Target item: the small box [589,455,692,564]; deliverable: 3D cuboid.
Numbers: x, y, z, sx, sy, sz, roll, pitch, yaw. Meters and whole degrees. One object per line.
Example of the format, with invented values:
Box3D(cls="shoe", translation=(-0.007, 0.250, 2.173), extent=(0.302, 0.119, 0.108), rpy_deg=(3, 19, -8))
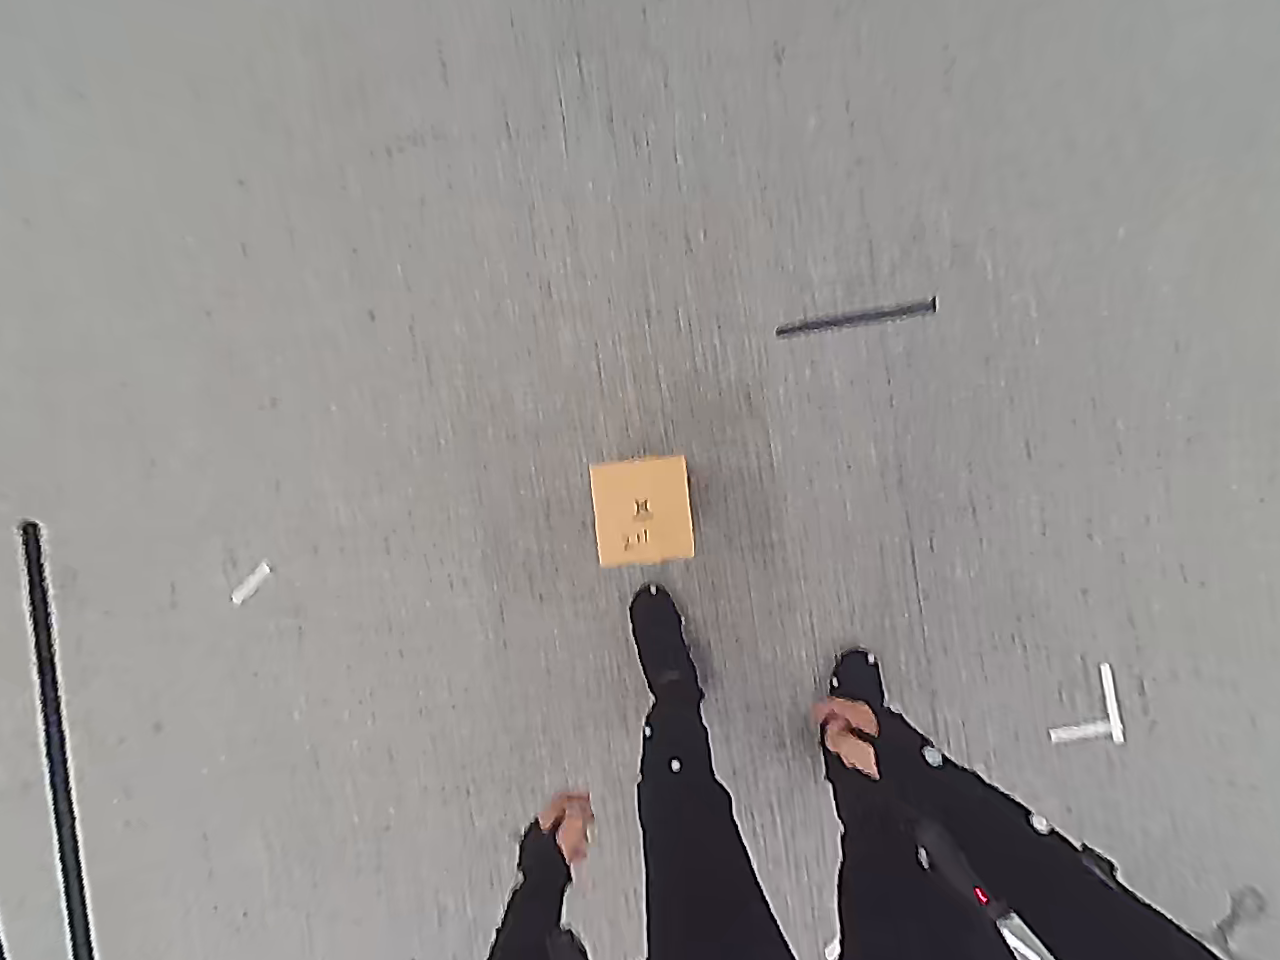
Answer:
Box3D(cls="small box", translation=(0.003, 0.053, 1.000), extent=(0.168, 0.176, 0.179), rpy_deg=(-6, 90, 3))
